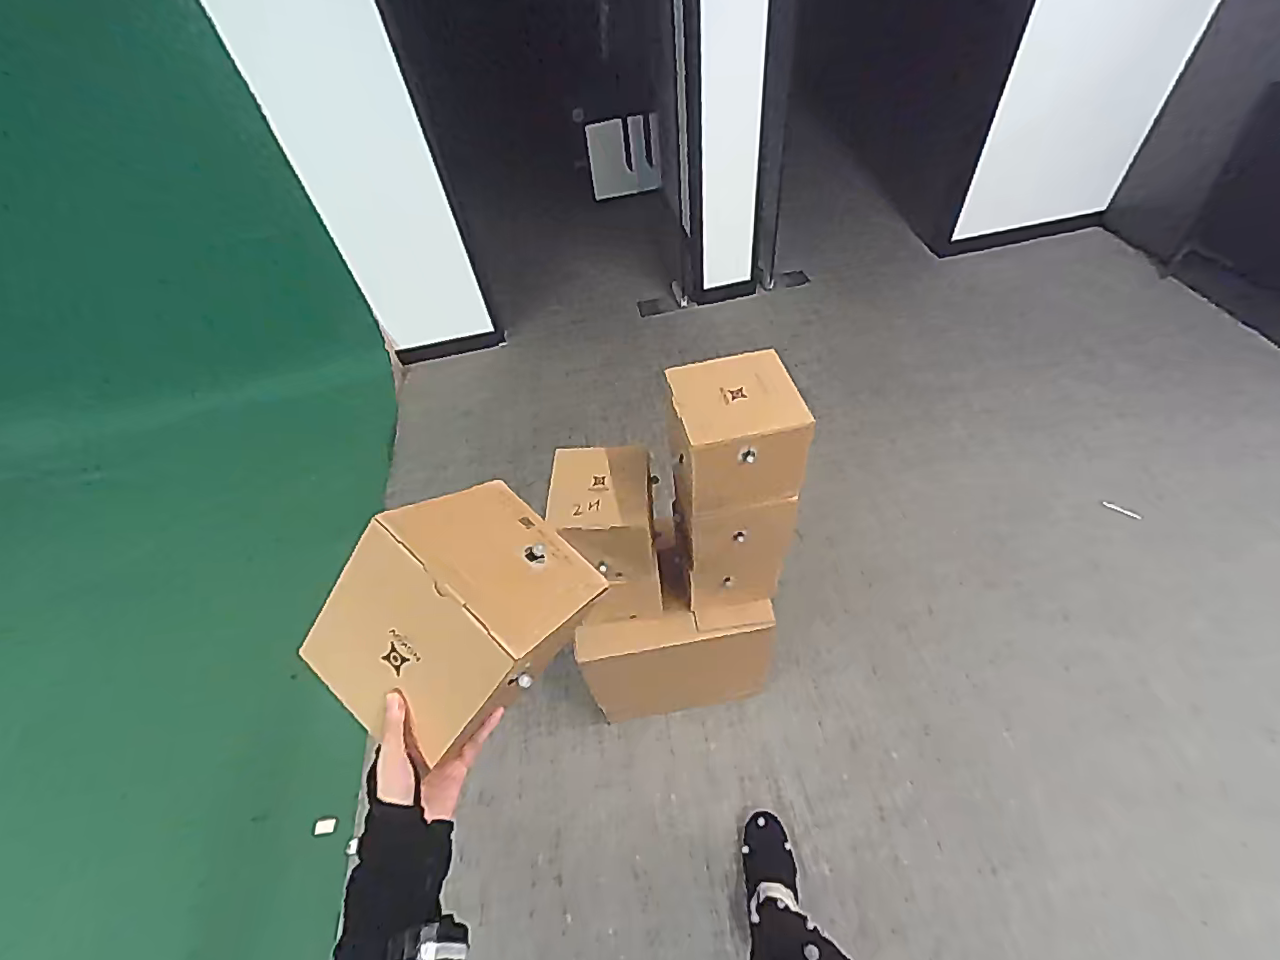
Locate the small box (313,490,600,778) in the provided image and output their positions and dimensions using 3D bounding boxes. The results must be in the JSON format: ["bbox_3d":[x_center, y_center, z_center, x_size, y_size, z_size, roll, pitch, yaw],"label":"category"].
[{"bbox_3d":[-0.167,0.133,0.527,0.168,0.179,0.176,41,21,11],"label":"small box"}]

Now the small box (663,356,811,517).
[{"bbox_3d":[0.141,-0.062,0.833,0.179,0.176,0.168,-11,51,-3],"label":"small box"}]
